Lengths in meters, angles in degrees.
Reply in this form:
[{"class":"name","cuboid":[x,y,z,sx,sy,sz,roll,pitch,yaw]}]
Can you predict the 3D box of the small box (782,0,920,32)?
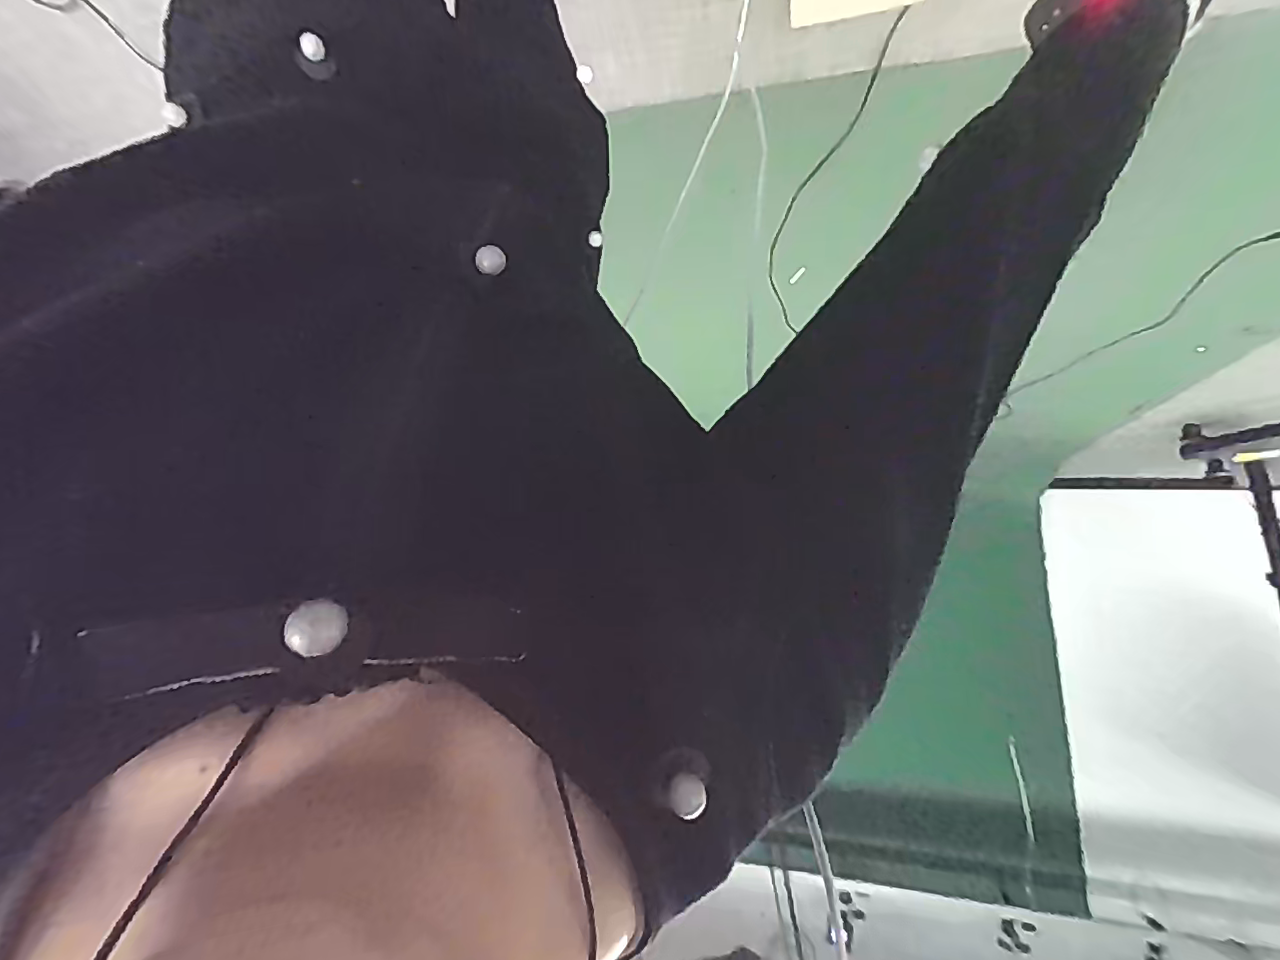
[{"class":"small box","cuboid":[0.271,-0.721,0.675,0.179,0.176,0.168,1,165,15]}]
